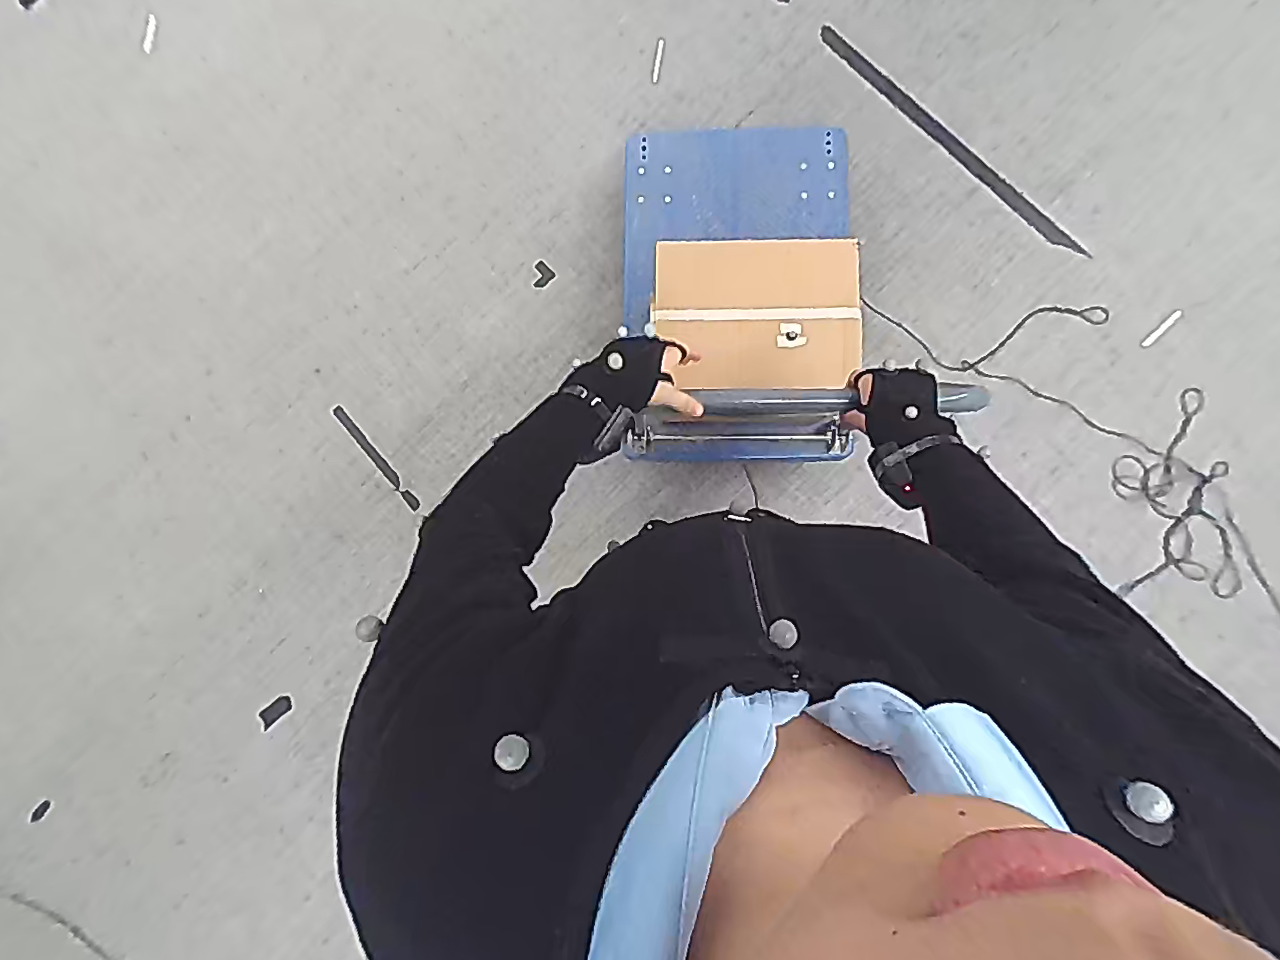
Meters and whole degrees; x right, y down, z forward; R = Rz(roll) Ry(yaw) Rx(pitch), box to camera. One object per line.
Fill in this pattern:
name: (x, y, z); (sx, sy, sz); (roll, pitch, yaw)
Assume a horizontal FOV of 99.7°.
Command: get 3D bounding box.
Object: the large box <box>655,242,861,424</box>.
large box: (0.238, -0.310, 1.225); (0.408, 0.320, 0.320); (0, 86, 2)
